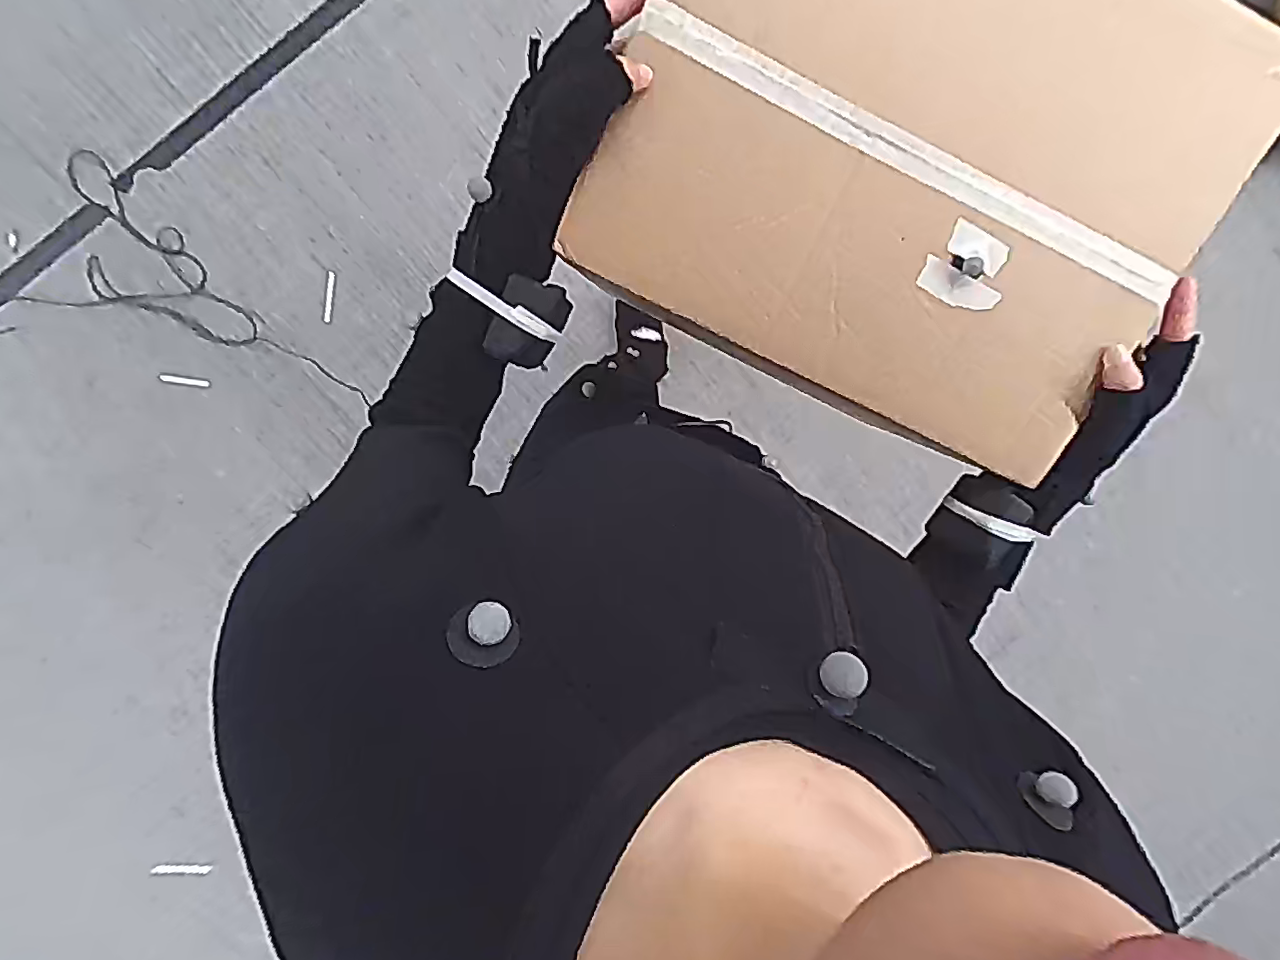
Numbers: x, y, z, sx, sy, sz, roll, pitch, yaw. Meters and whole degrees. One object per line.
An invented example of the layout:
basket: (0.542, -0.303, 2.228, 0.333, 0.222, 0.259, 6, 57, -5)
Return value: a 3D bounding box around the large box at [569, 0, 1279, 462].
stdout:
large box: (0.189, -0.264, 0.520, 0.408, 0.320, 0.320, 25, 105, -5)
